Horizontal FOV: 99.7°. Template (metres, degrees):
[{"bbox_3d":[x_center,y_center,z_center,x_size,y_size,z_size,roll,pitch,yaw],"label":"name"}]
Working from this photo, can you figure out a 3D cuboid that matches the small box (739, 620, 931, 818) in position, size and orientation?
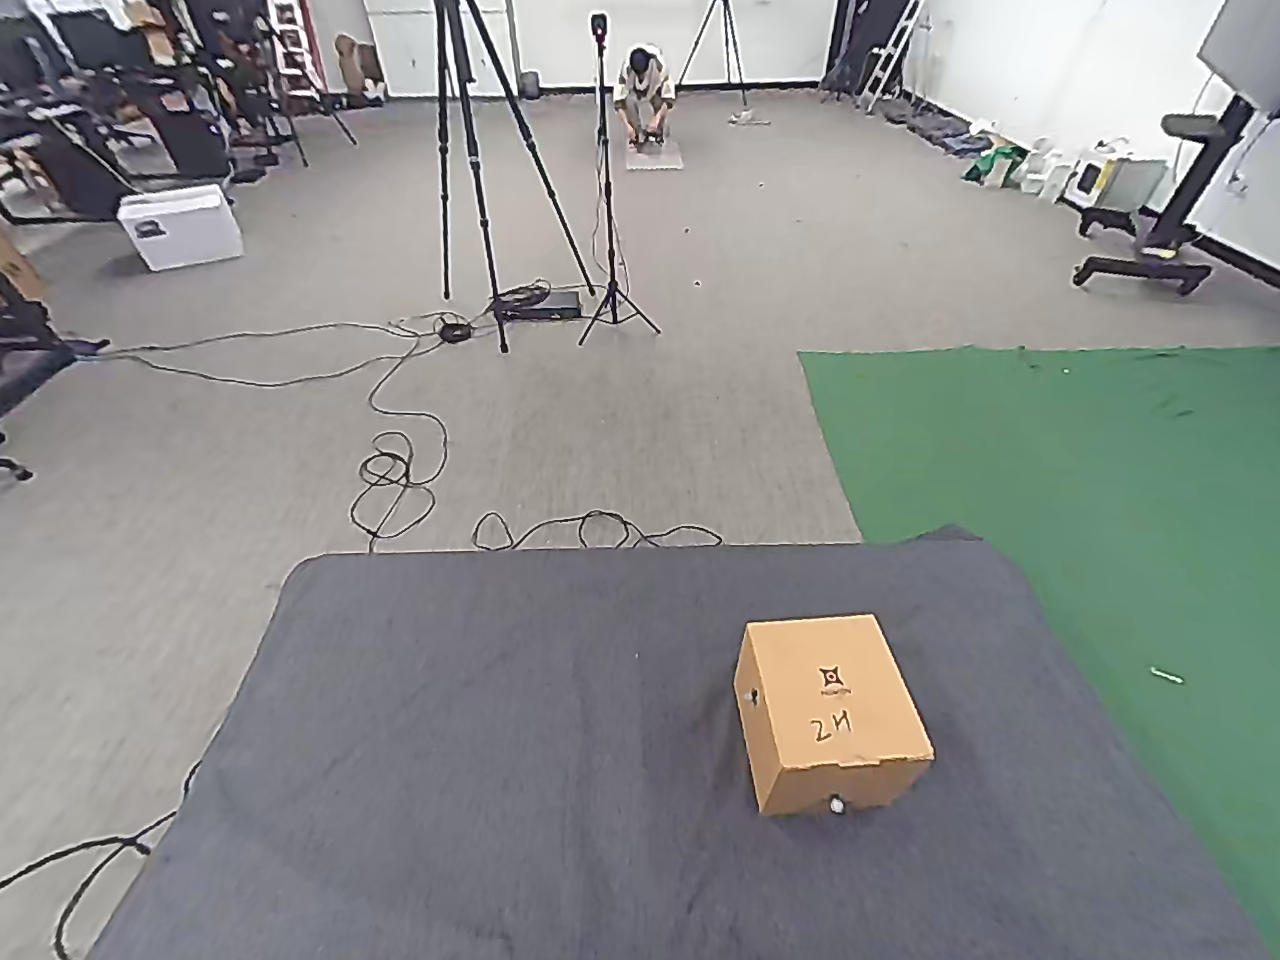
[{"bbox_3d":[0.226,0.302,0.687,0.168,0.176,0.179,-4,44,-1],"label":"small box"}]
